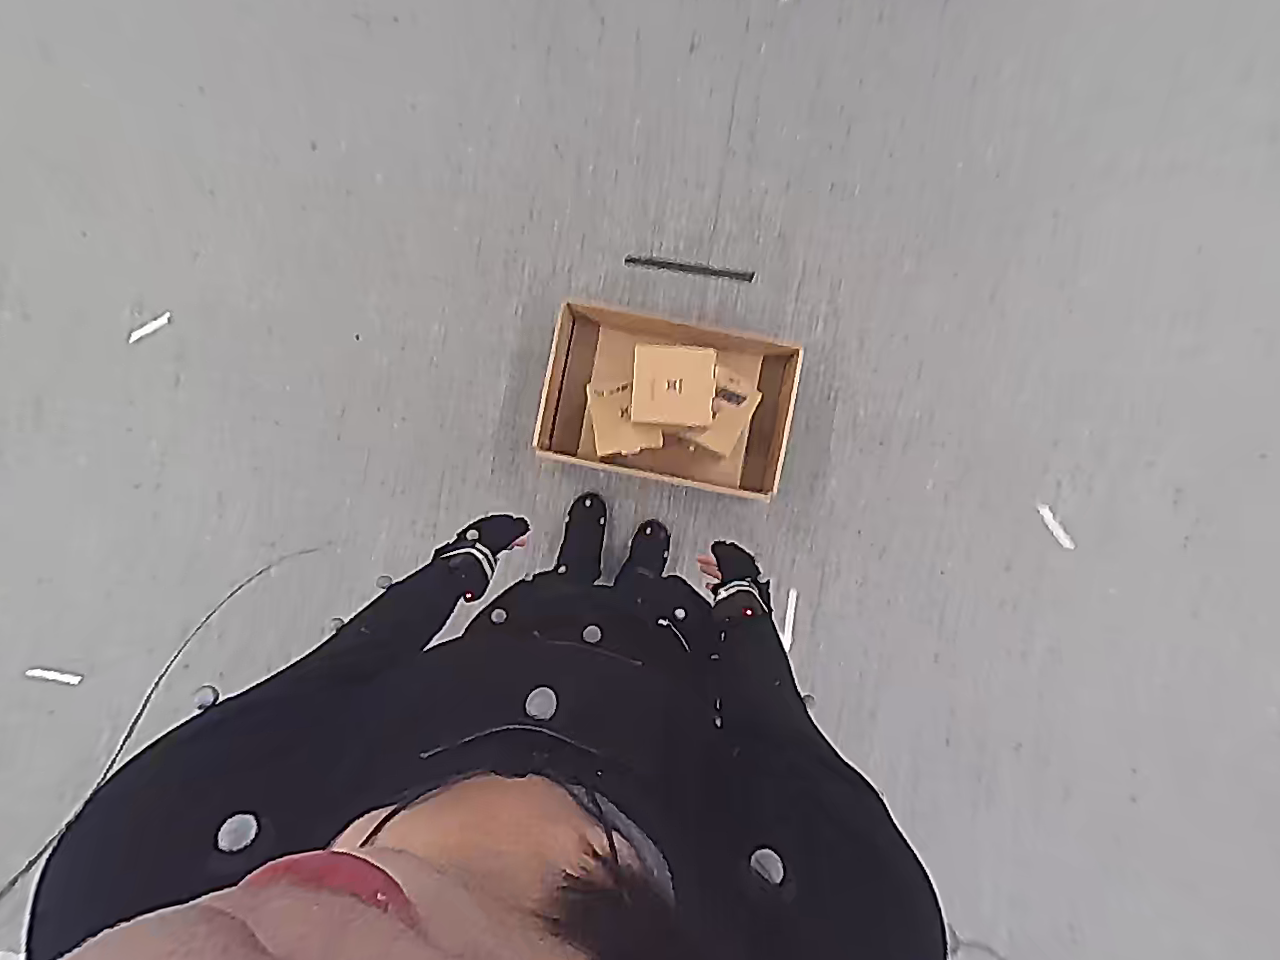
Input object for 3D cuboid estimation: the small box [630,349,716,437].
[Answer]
[{"bbox_3d":[0.070,-0.190,1.222,0.179,0.176,0.168,3,88,1],"label":"small box"}]
